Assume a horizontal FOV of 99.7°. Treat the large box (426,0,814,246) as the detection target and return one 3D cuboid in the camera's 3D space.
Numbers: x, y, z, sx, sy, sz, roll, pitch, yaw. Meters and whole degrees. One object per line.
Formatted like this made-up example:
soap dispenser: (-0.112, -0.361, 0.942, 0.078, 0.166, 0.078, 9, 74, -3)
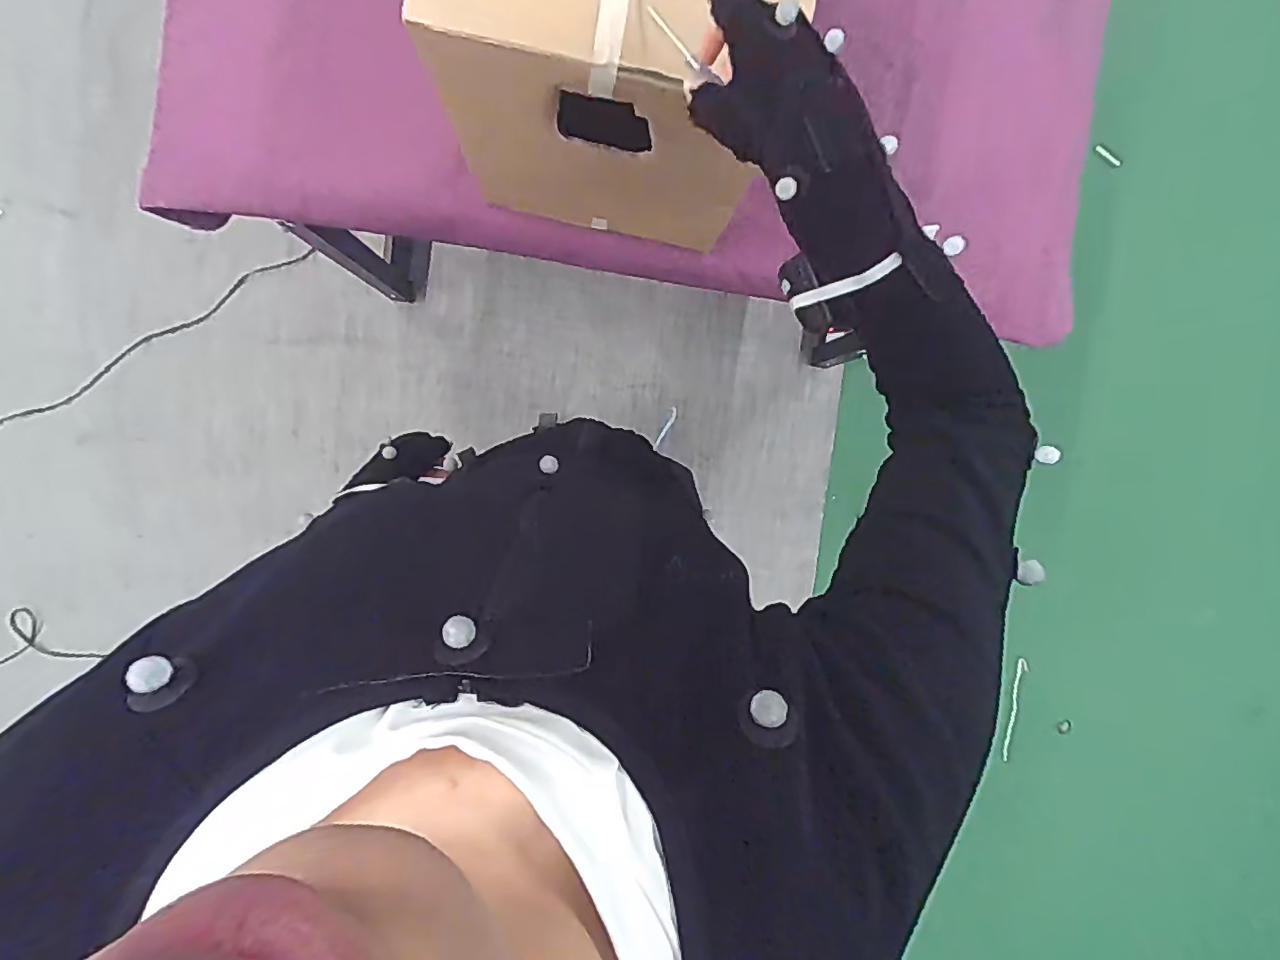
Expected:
large box: (-0.004, -0.532, 0.579, 0.320, 0.320, 0.408, 10, 93, -5)
